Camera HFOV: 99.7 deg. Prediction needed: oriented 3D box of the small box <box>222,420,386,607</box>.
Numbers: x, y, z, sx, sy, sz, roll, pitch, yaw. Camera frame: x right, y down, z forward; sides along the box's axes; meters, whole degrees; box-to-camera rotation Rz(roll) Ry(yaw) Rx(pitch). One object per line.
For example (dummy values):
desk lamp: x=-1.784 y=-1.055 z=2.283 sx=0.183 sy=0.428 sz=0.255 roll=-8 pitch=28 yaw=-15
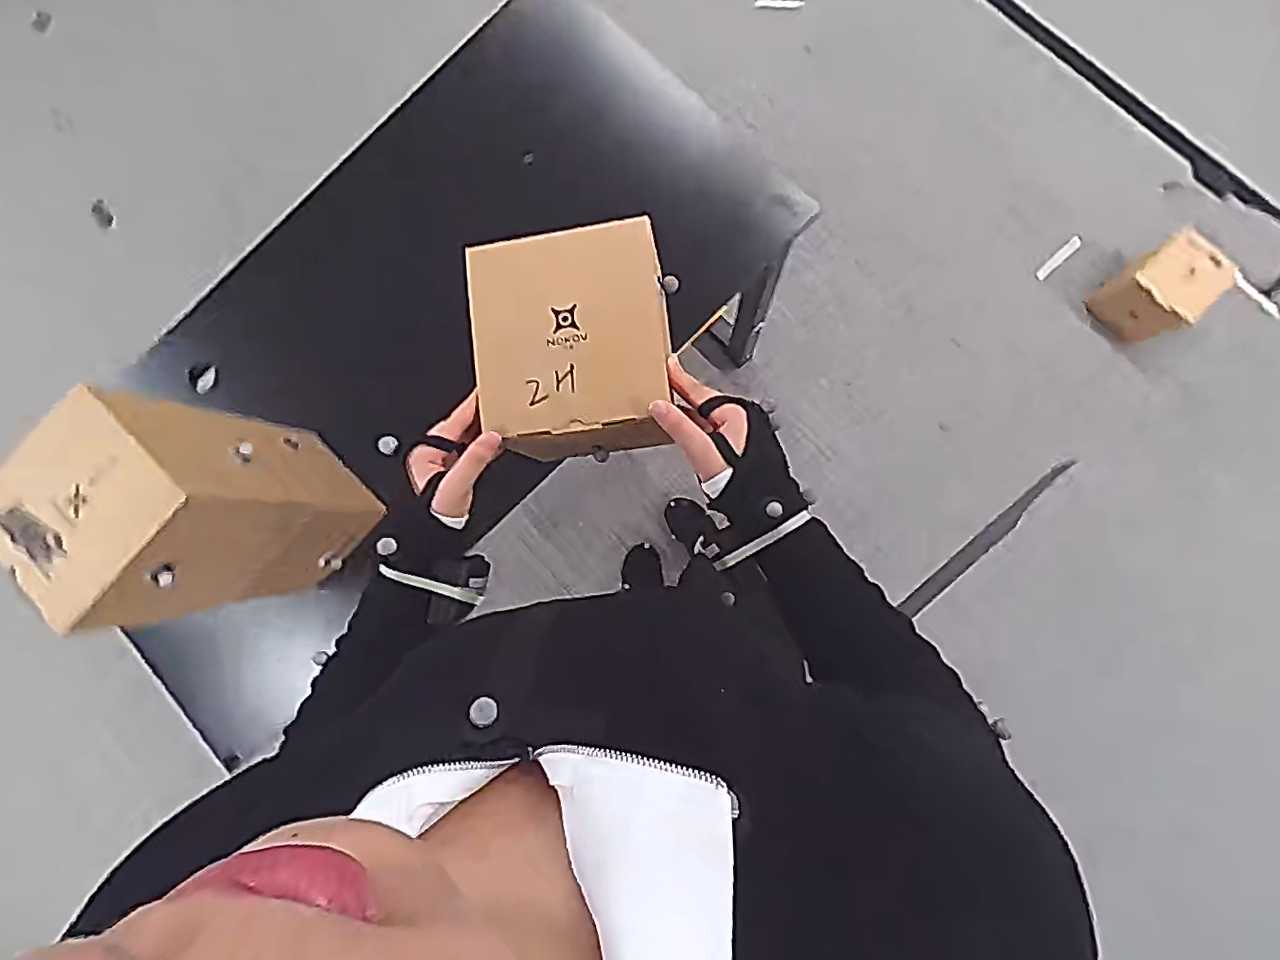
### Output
small box: x=-0.500 y=0.047 z=0.744 sx=0.179 sy=0.176 sz=0.168 roll=42 pitch=91 yaw=6

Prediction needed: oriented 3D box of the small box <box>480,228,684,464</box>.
small box: x=-0.046 y=-0.118 z=0.543 sx=0.168 sy=0.176 sz=0.179 roll=-6 pitch=85 yaw=7

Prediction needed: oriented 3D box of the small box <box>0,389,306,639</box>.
small box: x=-0.514 y=0.037 z=0.580 sx=0.168 sy=0.176 sz=0.179 roll=42 pitch=90 yaw=7

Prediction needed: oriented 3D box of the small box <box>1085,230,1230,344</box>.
small box: x=1.283 y=-0.475 z=1.362 sx=0.179 sy=0.176 sz=0.168 roll=-45 pitch=83 yaw=1
